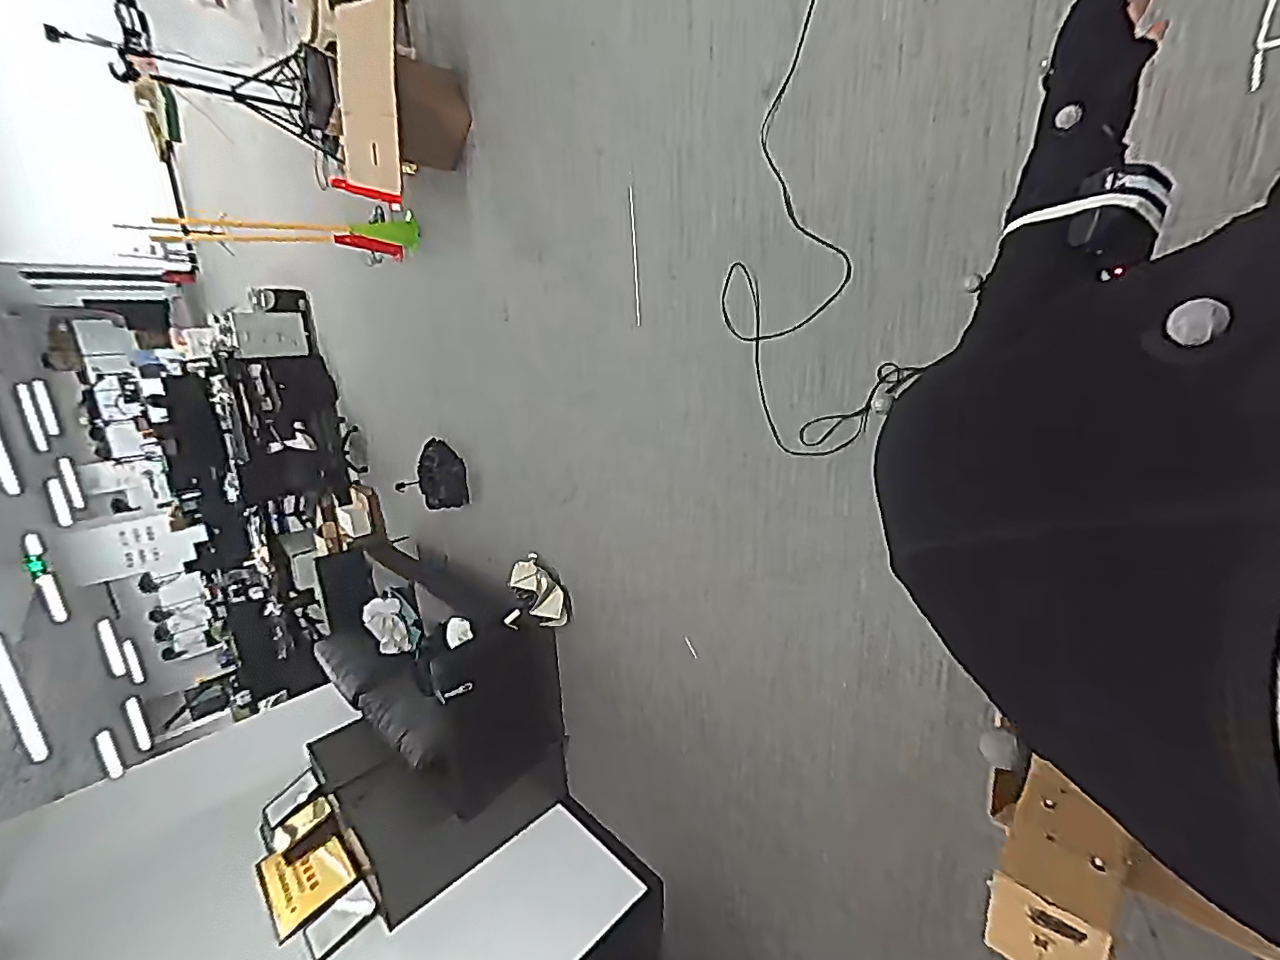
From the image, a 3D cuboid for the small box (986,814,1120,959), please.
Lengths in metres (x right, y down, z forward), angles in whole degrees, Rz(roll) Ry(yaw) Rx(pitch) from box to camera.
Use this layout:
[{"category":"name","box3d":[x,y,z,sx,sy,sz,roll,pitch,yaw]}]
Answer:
[{"category":"small box","box3d":[0.765,0.774,1.001,0.168,0.176,0.179,11,111,44]}]

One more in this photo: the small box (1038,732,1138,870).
[{"category":"small box","box3d":[1.005,0.706,1.217,0.168,0.176,0.179,4,106,44]}]

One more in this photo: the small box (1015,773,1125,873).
[{"category":"small box","box3d":[0.868,0.747,1.103,0.168,0.176,0.179,10,110,44]}]
